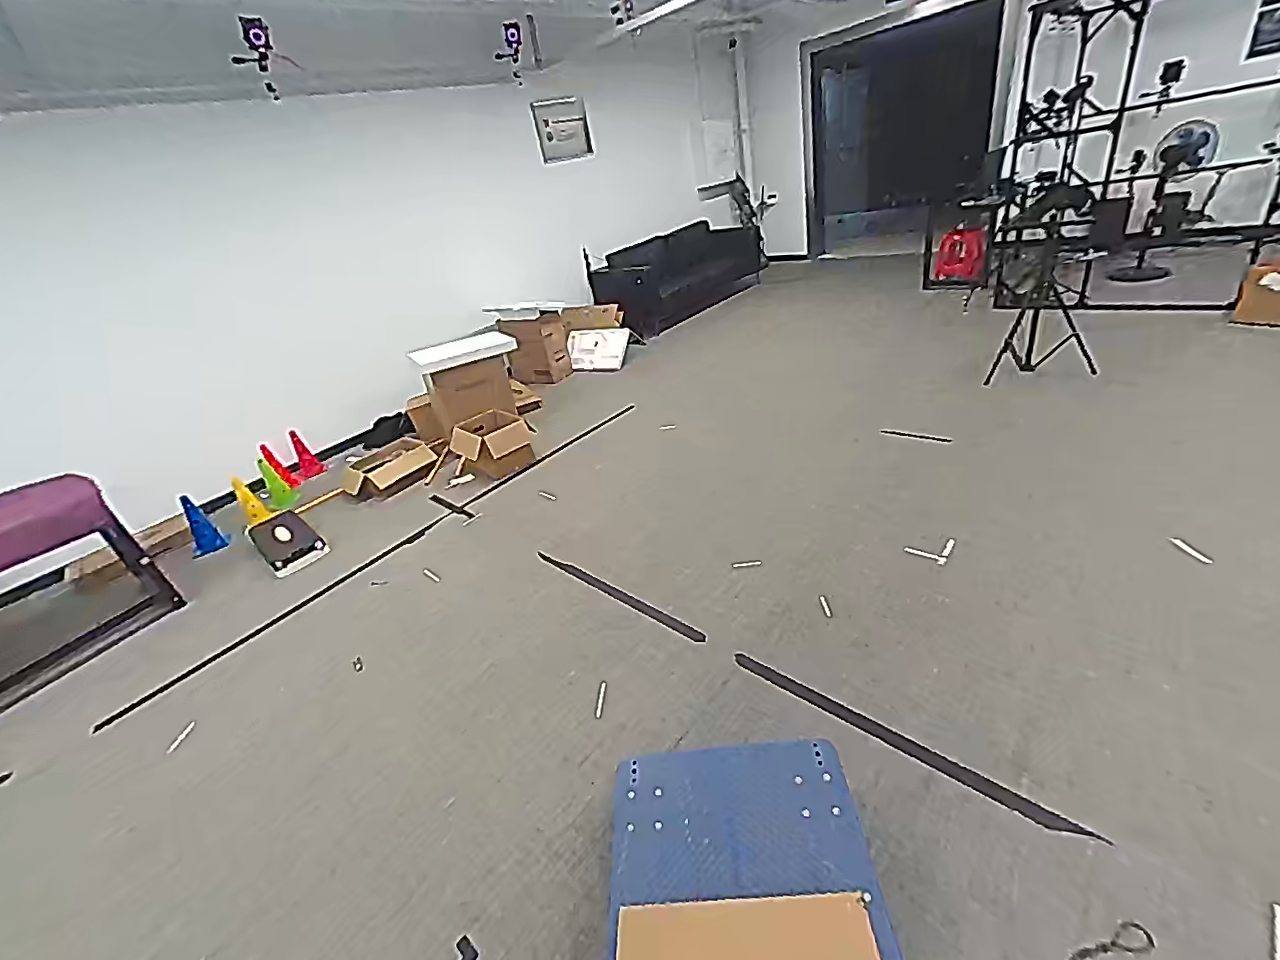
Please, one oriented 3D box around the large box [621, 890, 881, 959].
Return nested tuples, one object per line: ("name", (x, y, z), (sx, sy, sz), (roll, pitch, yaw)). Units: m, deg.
("large box", (0.188, 0.905, 0.842), (0.408, 0.320, 0.320), (-8, 30, 5))
